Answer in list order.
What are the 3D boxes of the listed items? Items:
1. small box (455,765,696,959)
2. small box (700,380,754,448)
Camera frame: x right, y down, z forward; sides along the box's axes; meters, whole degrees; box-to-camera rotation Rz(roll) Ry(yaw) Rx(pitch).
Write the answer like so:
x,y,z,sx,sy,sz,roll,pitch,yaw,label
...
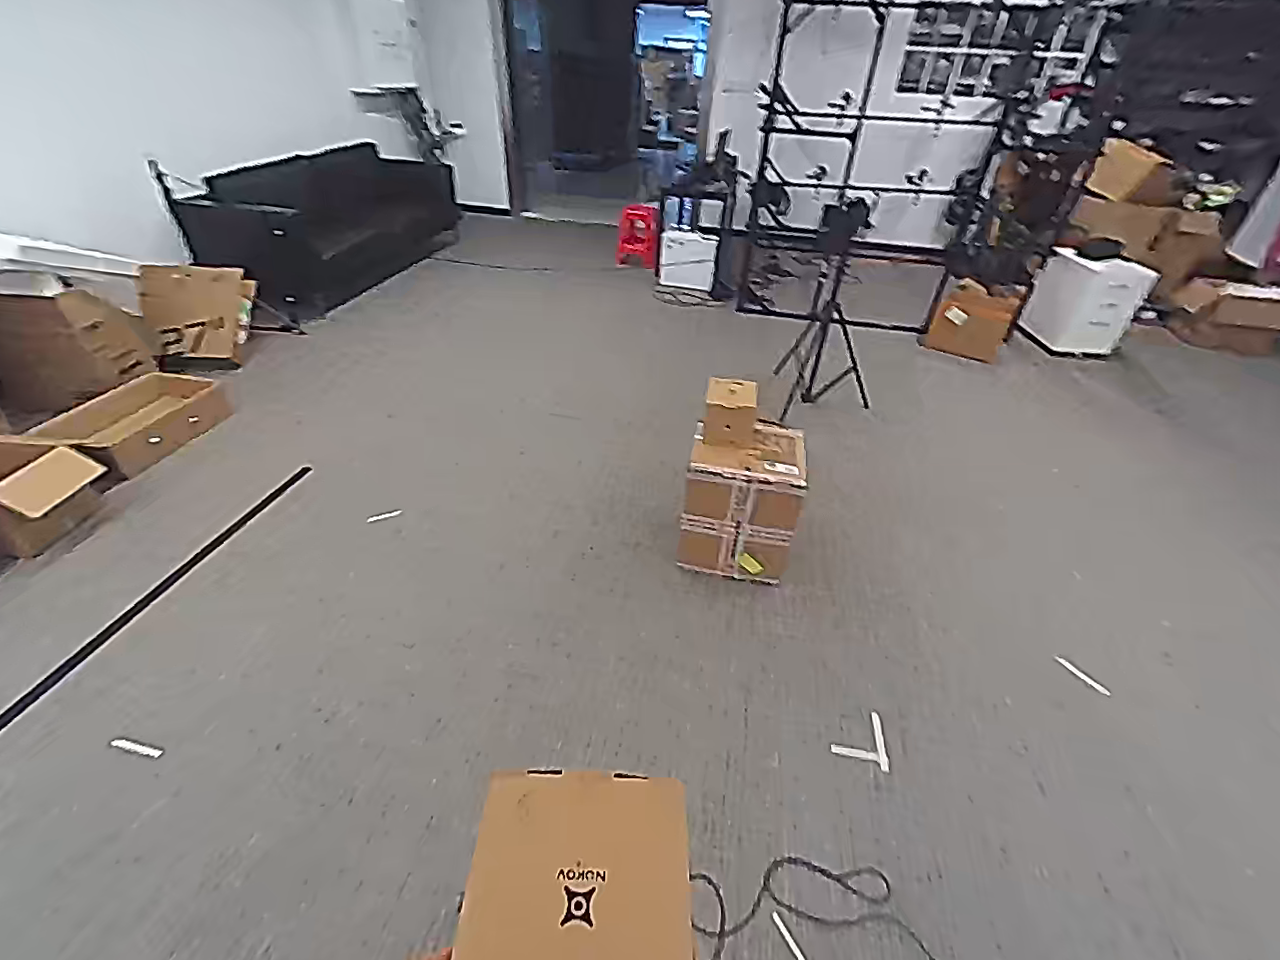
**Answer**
x,y,z,sx,sy,sz,roll,pitch,yaw,label
-0.050,0.365,0.441,0.168,0.176,0.179,6,40,-2,small box
0.304,-0.231,1.898,0.168,0.176,0.179,7,41,8,small box
